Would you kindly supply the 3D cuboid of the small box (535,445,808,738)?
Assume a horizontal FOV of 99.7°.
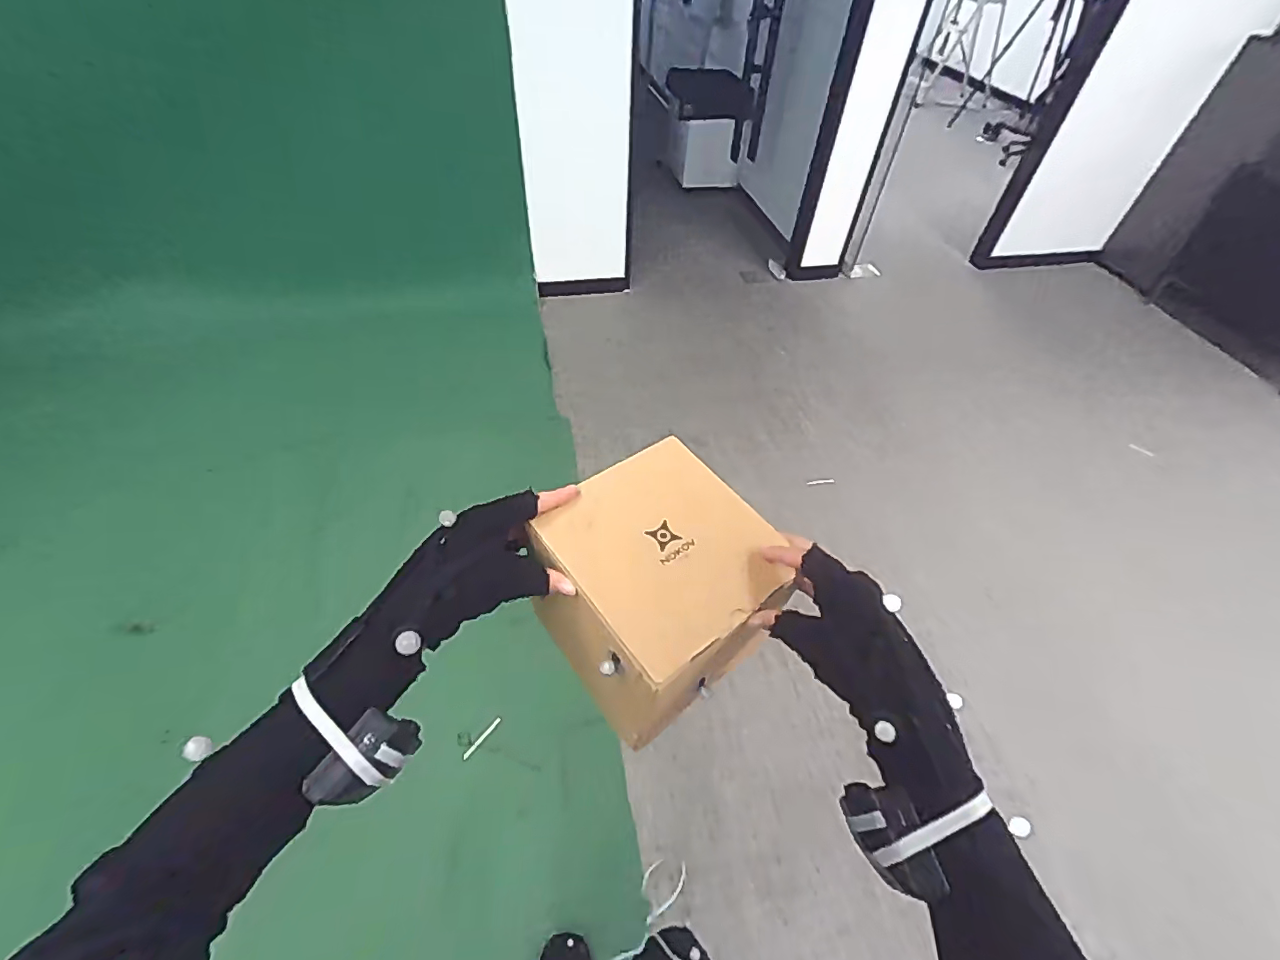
[{"bbox_3d":[0.015,0.104,0.509,0.168,0.176,0.179,-28,60,-28],"label":"small box"}]
